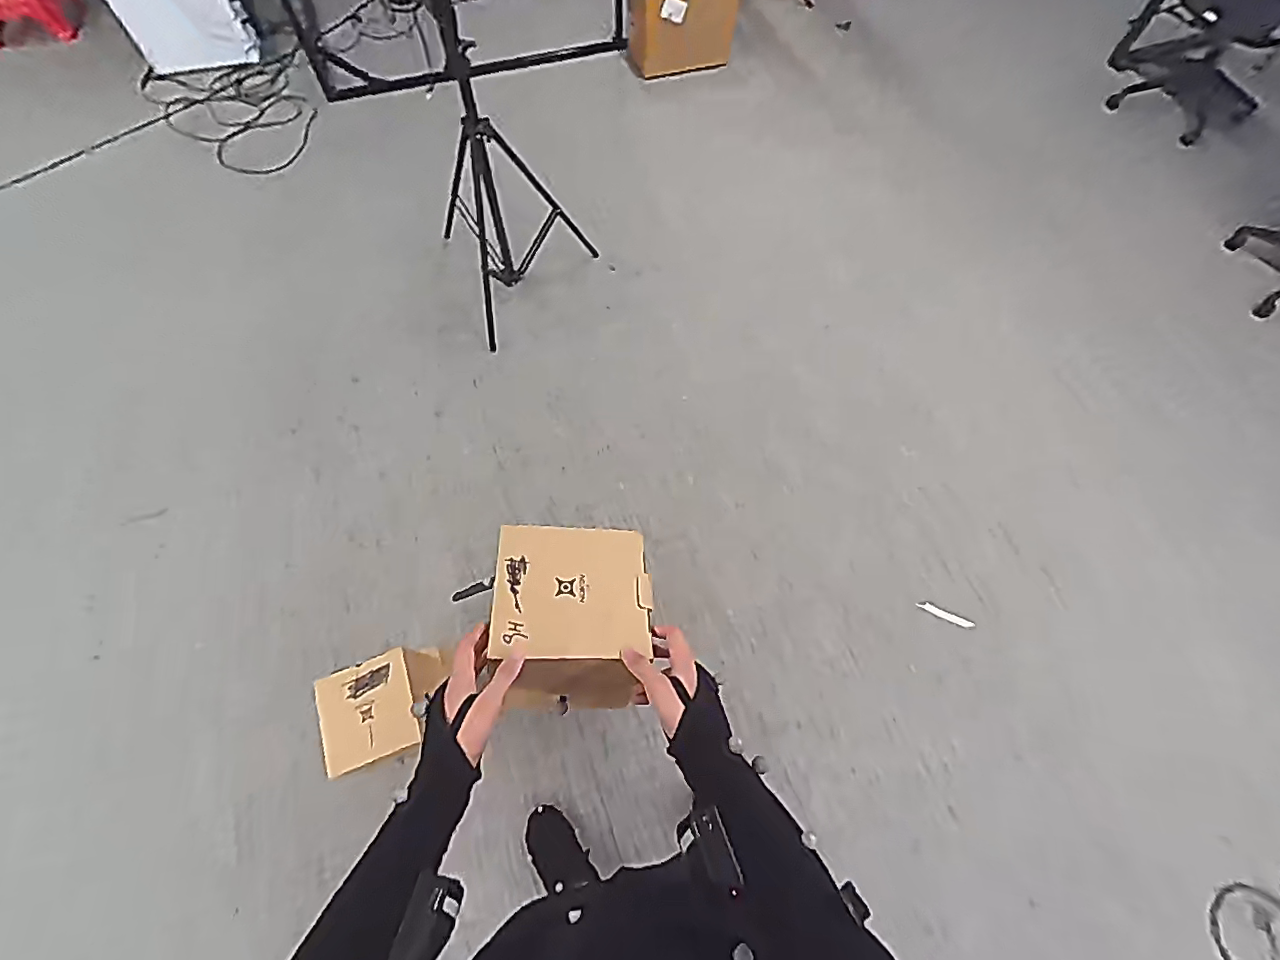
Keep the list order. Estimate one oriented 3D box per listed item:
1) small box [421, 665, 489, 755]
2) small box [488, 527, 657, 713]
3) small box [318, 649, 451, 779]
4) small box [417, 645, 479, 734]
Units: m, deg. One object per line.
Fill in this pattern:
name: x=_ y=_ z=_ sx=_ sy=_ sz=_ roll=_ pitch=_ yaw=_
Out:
small box: x=-0.495 y=0.568 z=1.346 sx=0.168 sy=0.176 sz=0.179 roll=-22 pitch=68 yaw=-11
small box: x=-0.087 y=0.177 z=0.666 sx=0.179 sy=0.176 sz=0.168 roll=5 pitch=49 yaw=-12
small box: x=-0.485 y=0.448 z=1.041 sx=0.168 sy=0.176 sz=0.179 roll=-20 pitch=68 yaw=-9
small box: x=-0.482 y=0.492 z=1.202 sx=0.179 sy=0.176 sz=0.168 roll=-23 pitch=67 yaw=-12
